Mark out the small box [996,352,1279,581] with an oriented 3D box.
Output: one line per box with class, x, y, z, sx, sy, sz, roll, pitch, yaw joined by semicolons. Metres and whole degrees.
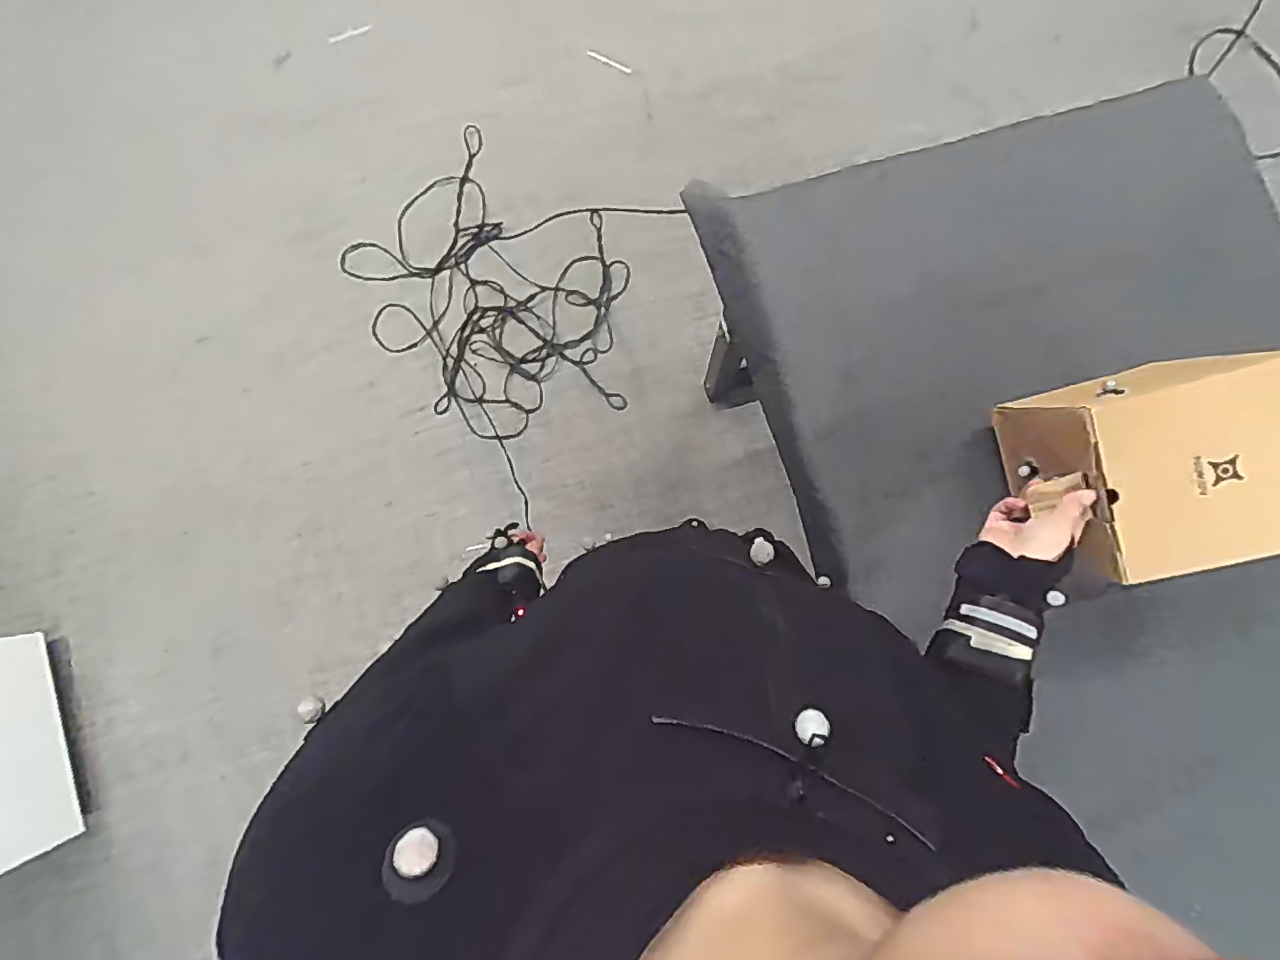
small box;0.500;-0.021;0.535;0.179;0.176;0.168;-16;95;11
